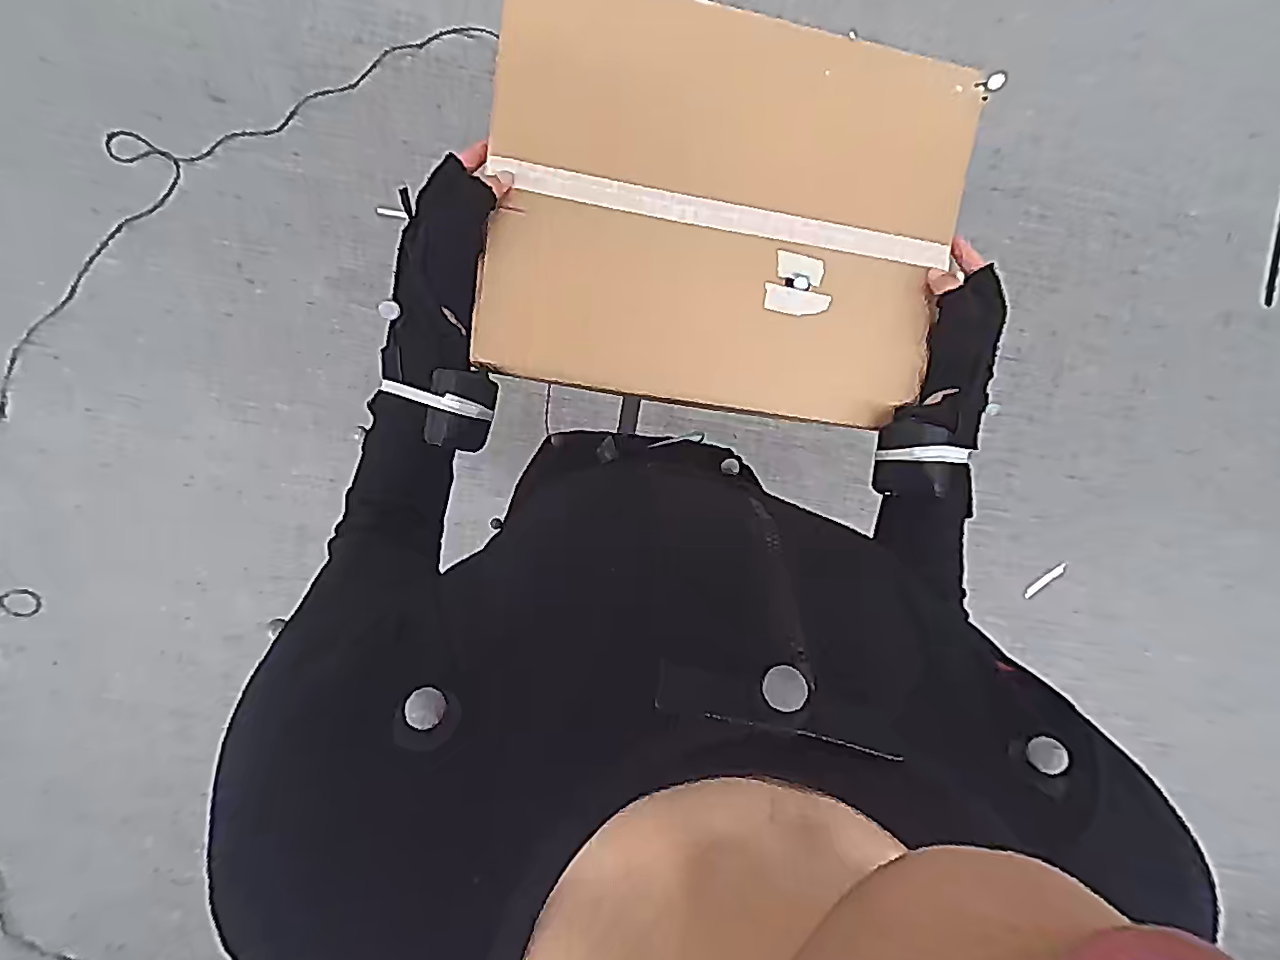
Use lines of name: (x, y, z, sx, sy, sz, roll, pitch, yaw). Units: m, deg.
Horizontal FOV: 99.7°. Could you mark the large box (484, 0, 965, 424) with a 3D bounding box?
large box: (0.057, -0.246, 0.617, 0.408, 0.320, 0.320, 7, 99, -9)
